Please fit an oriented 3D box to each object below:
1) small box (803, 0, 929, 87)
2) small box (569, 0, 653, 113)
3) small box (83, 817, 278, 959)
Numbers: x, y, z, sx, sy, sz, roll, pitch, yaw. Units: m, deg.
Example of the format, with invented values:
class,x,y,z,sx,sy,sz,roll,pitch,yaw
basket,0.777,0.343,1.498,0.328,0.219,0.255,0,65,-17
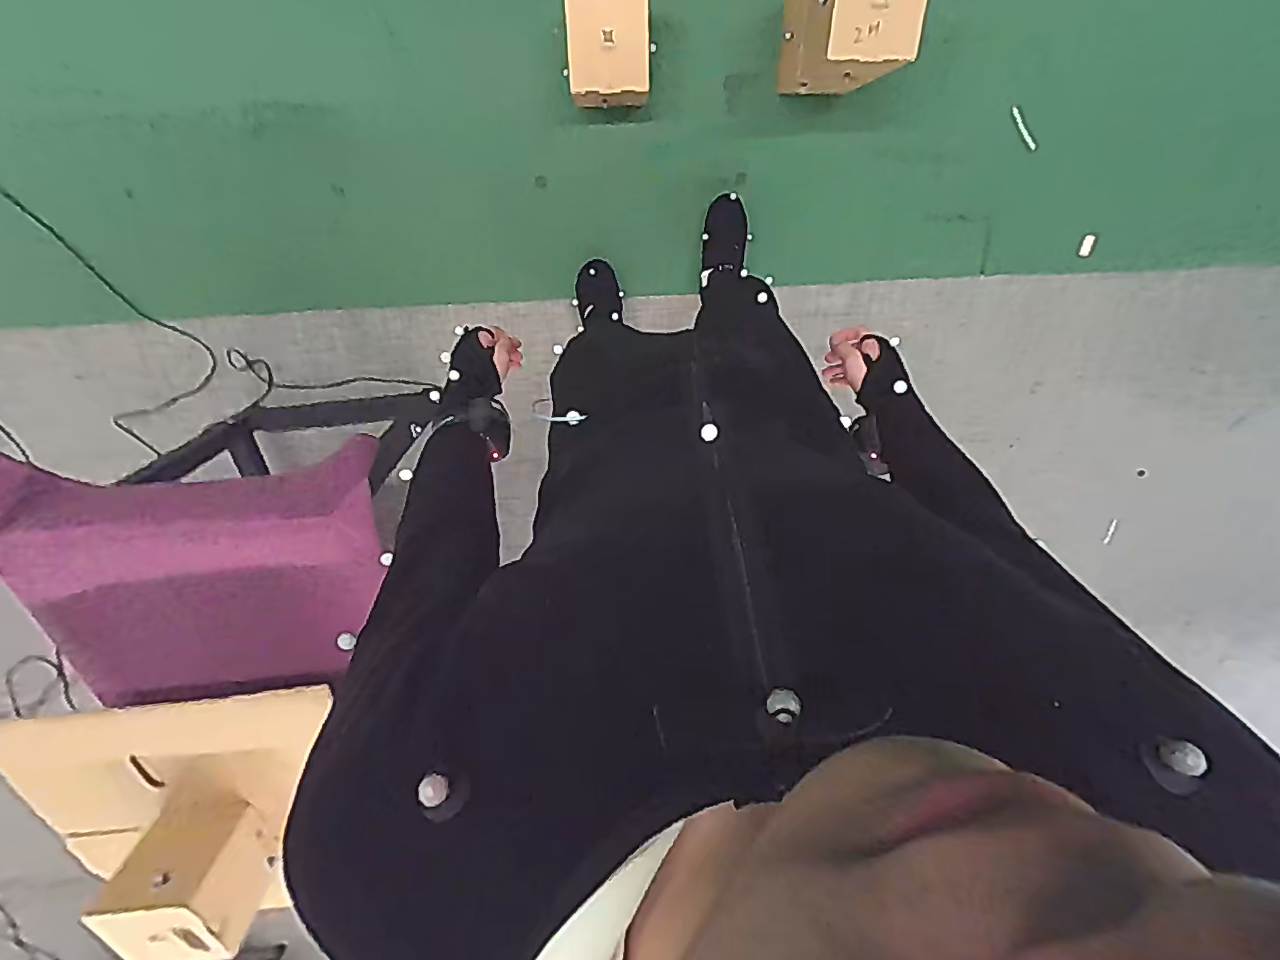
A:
class,x,y,z,sx,sy,sz,roll,pitch,yaw
small box,0.419,-0.864,1.015,0.168,0.176,0.179,-2,117,-2
small box,-0.060,-0.906,1.159,0.168,0.176,0.179,-3,118,-1
small box,-0.774,0.719,0.942,0.179,0.176,0.168,-6,115,1
